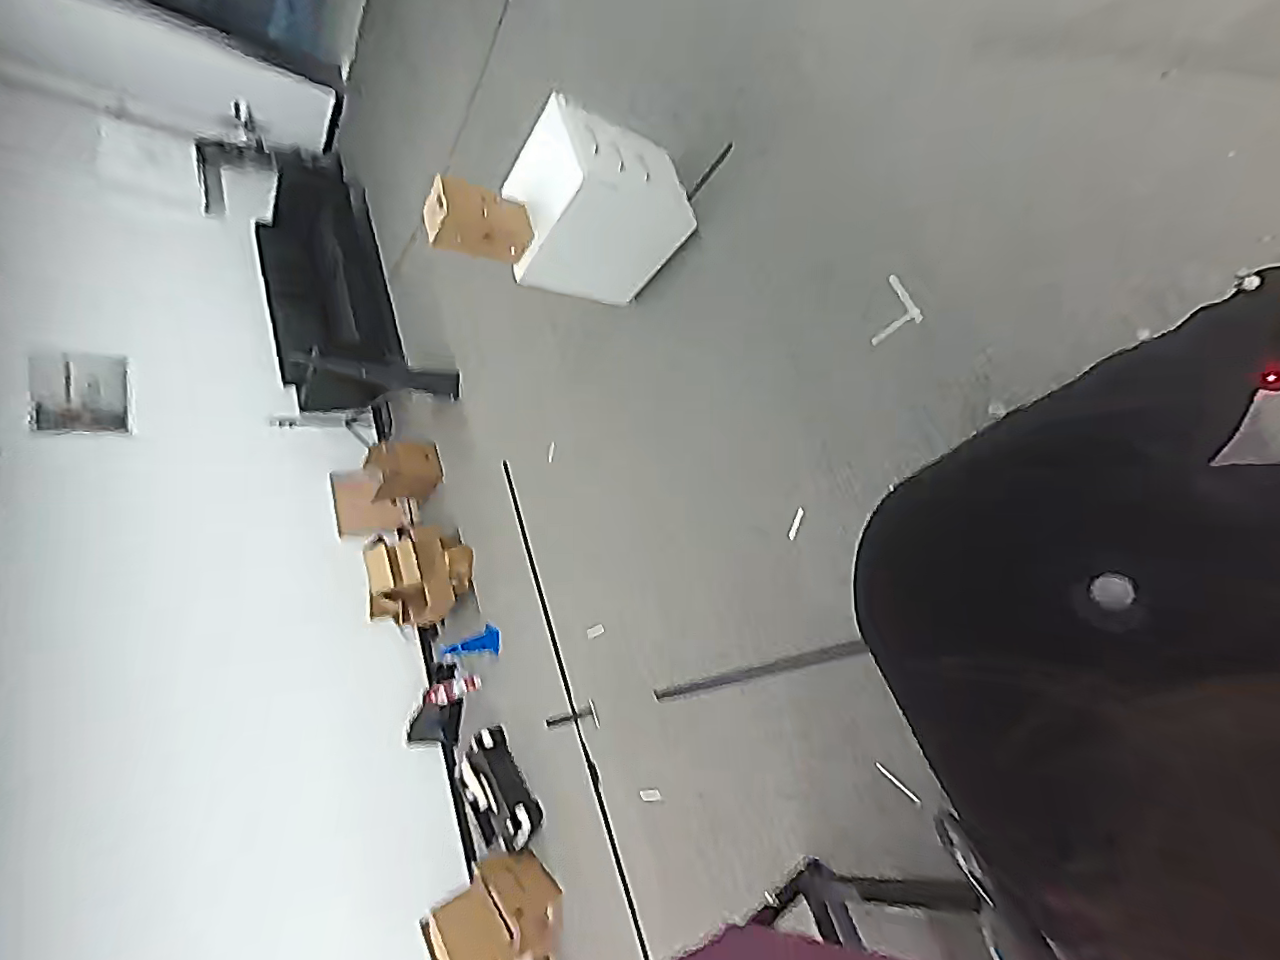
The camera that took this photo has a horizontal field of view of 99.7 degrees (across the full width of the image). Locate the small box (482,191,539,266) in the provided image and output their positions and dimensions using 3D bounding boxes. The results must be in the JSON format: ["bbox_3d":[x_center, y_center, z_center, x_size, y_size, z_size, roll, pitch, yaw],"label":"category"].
[{"bbox_3d":[-0.506,-0.938,2.036,0.168,0.176,0.179,-37,65,44],"label":"small box"}]

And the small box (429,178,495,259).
[{"bbox_3d":[-0.629,-0.926,1.928,0.179,0.176,0.168,-36,65,45],"label":"small box"}]
